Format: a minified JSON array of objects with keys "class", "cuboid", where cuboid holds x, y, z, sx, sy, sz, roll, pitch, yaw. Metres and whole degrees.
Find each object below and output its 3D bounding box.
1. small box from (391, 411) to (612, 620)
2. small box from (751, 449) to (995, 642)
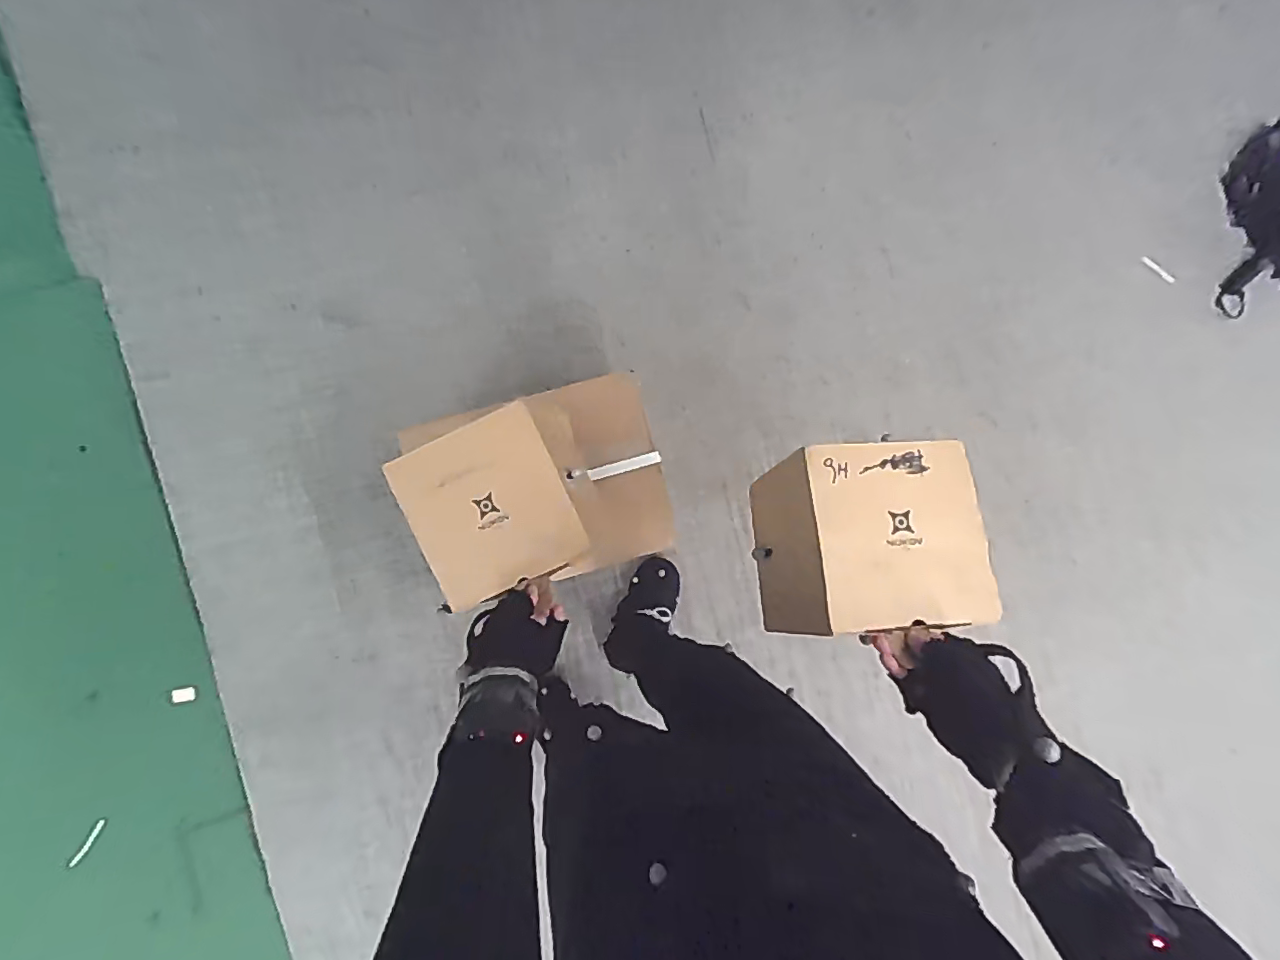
[{"class":"small box","cuboid":[-0.145,0.031,0.637,0.168,0.176,0.179,-25,92,5]},{"class":"small box","cuboid":[0.230,0.073,0.580,0.168,0.176,0.179,-1,76,-9]}]
